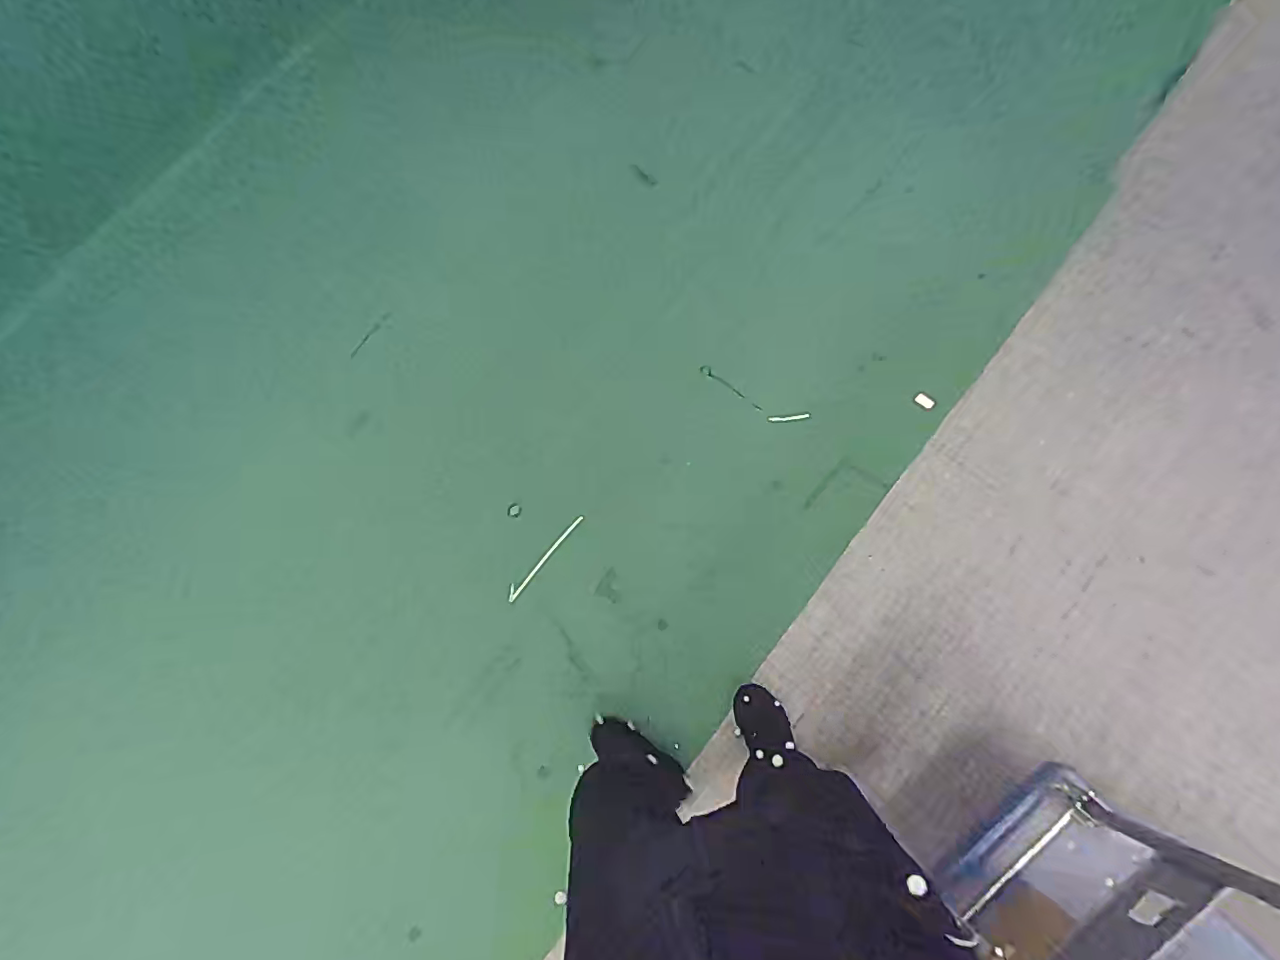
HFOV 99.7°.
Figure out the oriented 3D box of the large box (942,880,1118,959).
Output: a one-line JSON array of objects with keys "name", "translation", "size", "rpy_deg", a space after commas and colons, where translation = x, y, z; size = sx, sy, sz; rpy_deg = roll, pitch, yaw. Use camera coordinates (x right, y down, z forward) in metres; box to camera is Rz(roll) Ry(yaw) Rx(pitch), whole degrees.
[{"name": "large box", "translation": [0.743, 0.976, 0.854], "size": [0.320, 0.320, 0.408], "rpy_deg": [-43, 73, -4]}]
